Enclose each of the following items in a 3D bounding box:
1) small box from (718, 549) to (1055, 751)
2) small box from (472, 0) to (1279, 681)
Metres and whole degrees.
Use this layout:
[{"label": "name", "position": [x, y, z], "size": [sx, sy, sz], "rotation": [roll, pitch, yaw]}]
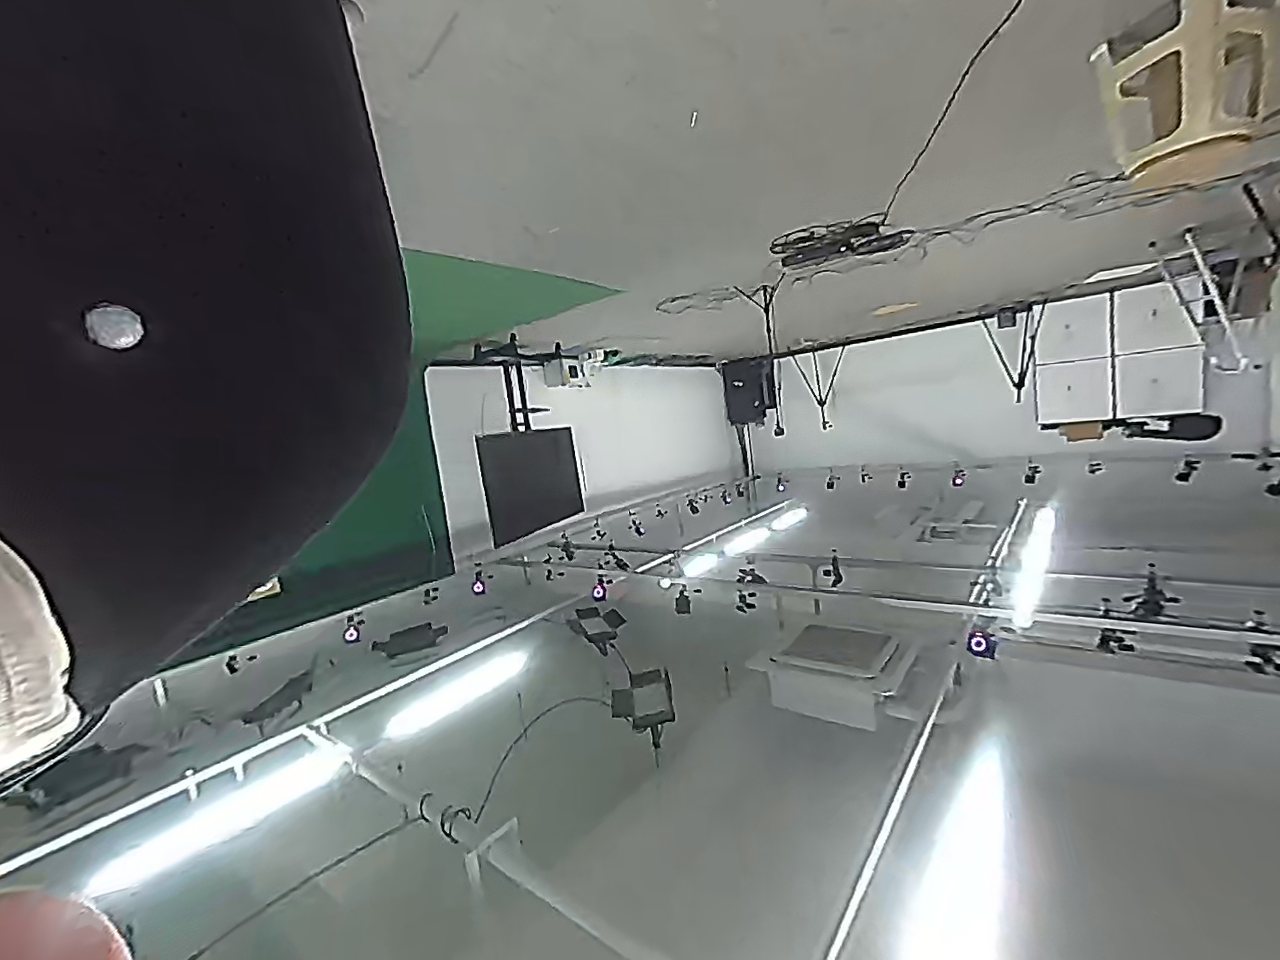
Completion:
[{"label": "small box", "position": [0.166, 0.073, 0.383], "size": [0.168, 0.176, 0.179], "rotation": [14, 67, 20]}, {"label": "small box", "position": [0.100, -0.069, 0.112], "size": [0.179, 0.176, 0.168], "rotation": [14, 67, 18]}]
